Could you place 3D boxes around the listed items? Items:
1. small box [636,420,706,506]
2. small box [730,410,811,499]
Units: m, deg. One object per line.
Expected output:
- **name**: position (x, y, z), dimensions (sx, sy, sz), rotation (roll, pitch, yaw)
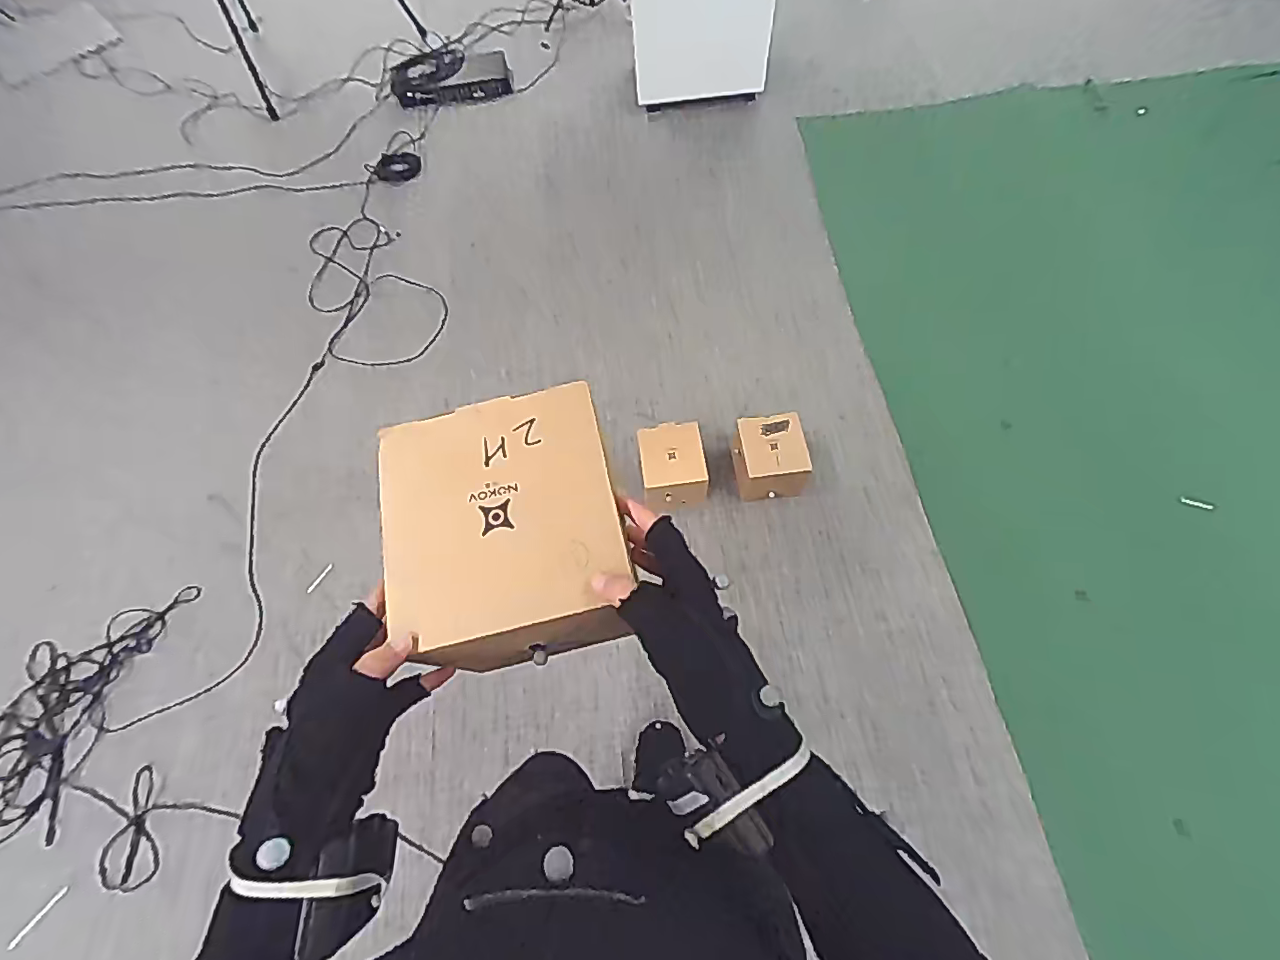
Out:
- **small box**: position (0.085, -0.039, 1.472), dimensions (0.168, 0.176, 0.179), rotation (-8, 65, -1)
- **small box**: position (0.346, -0.066, 1.469), dimensions (0.168, 0.176, 0.179), rotation (-7, 67, 0)
